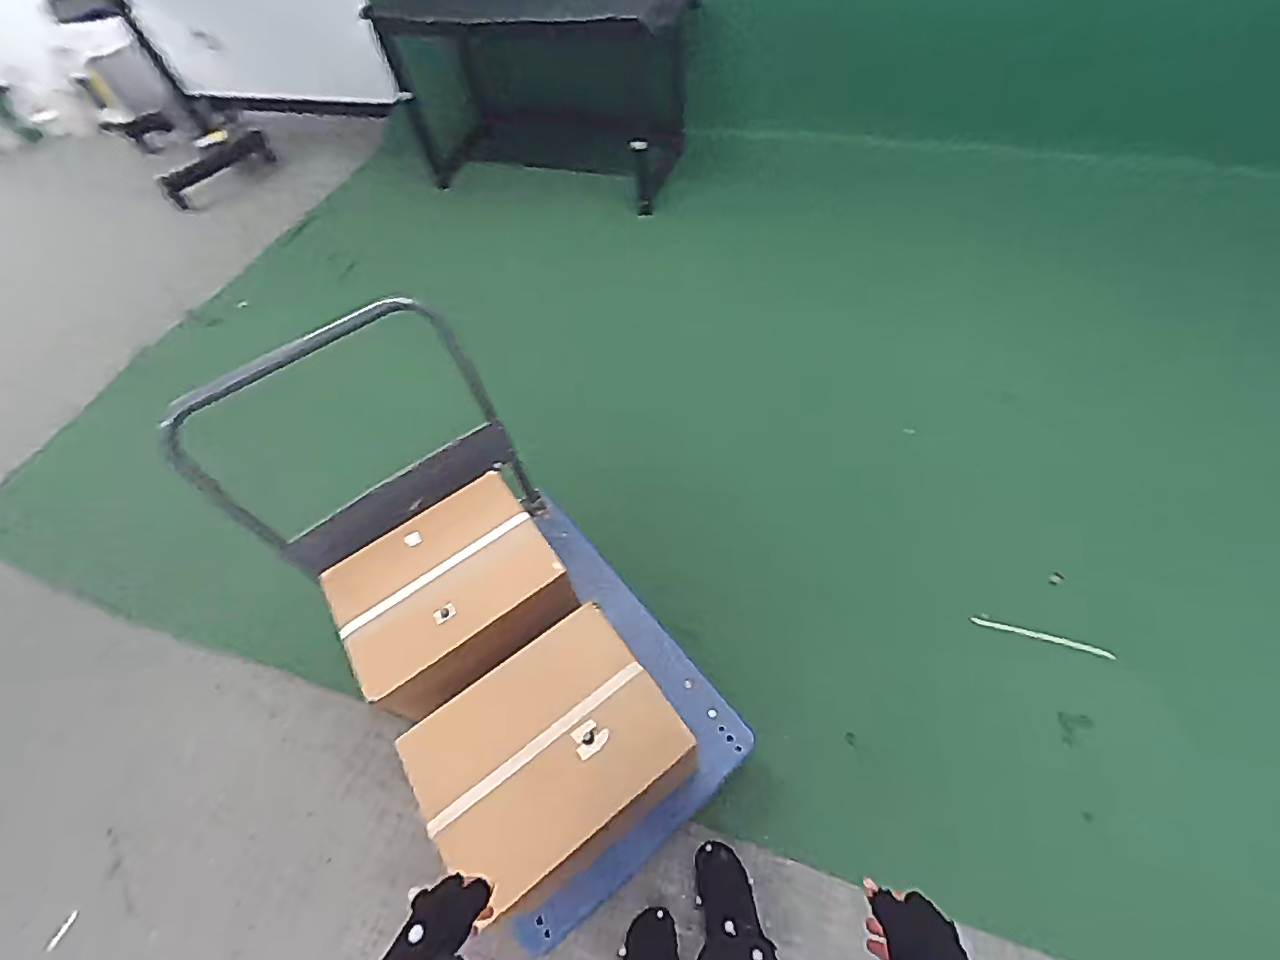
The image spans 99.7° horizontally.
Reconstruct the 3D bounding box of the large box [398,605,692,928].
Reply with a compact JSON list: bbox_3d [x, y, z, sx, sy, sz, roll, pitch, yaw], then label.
[{"bbox_3d":[-0.150,0.521,1.006,0.408,0.320,0.320,-33,58,-17],"label":"large box"}]
